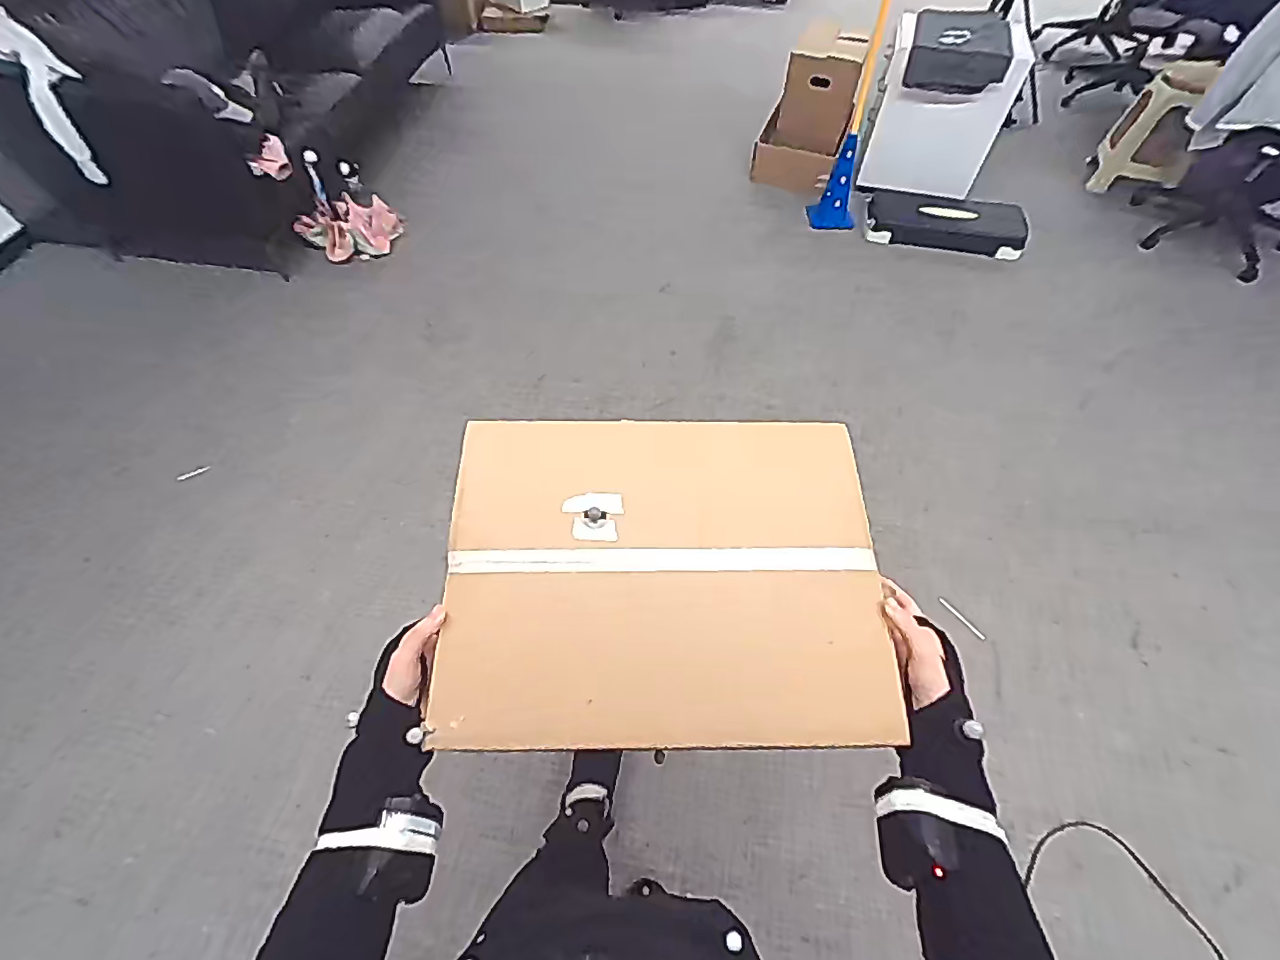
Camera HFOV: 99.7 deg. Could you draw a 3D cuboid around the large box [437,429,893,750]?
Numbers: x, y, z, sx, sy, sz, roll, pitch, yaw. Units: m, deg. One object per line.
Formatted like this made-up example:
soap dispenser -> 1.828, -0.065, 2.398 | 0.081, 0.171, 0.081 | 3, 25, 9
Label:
large box -> 0.021, 0.148, 0.661 | 0.408, 0.320, 0.320 | 0, 65, -1
